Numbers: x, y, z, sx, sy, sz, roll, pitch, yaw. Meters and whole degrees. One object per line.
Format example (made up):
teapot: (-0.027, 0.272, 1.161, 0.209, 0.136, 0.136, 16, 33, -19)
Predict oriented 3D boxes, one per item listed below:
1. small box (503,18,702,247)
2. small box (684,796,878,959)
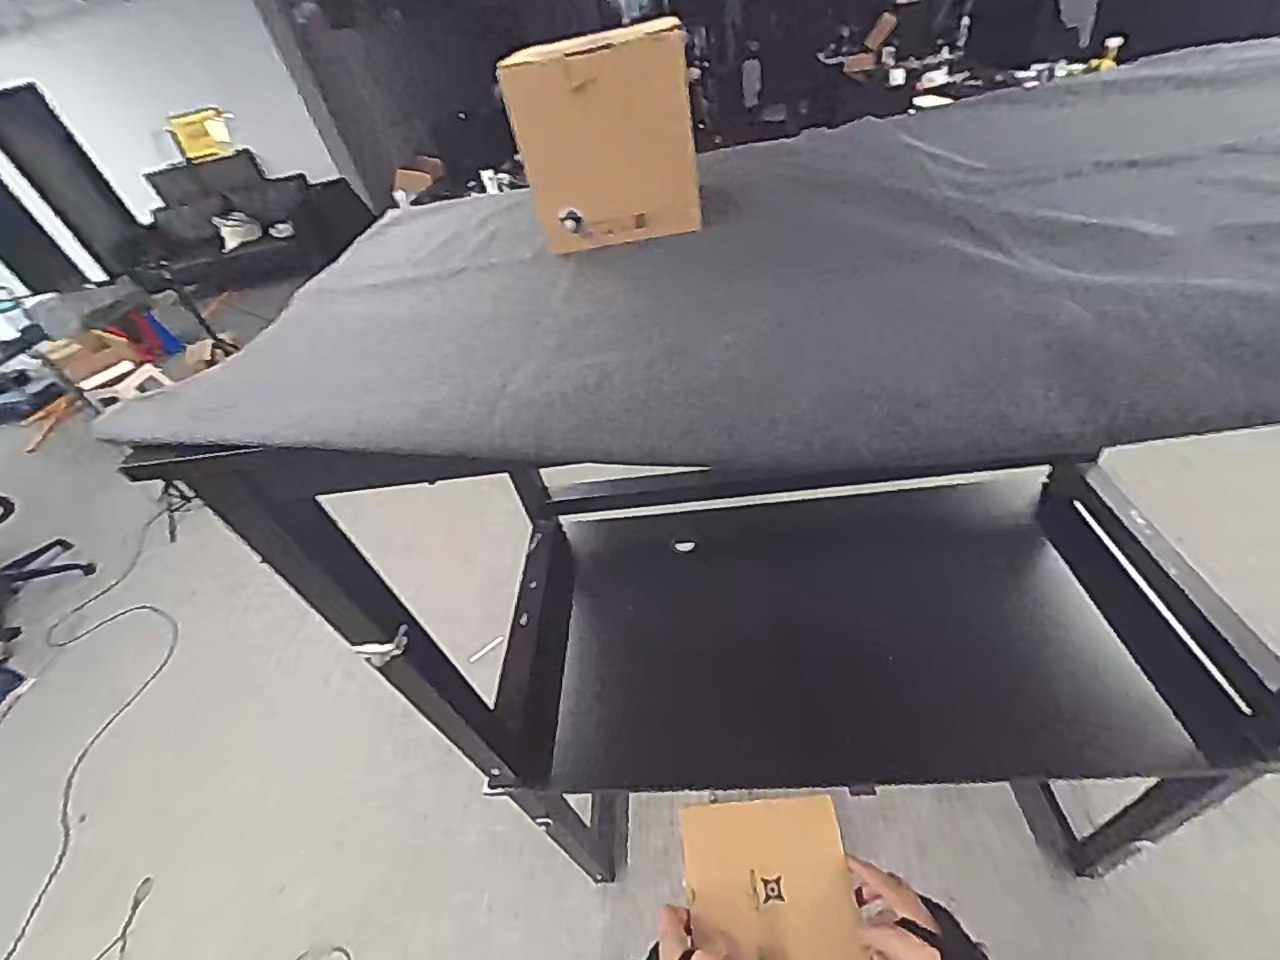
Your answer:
small box: (-0.025, -0.365, 0.582, 0.168, 0.176, 0.179, -6, 41, 8)
small box: (0.152, 0.475, 0.624, 0.179, 0.176, 0.168, -9, 51, 6)
